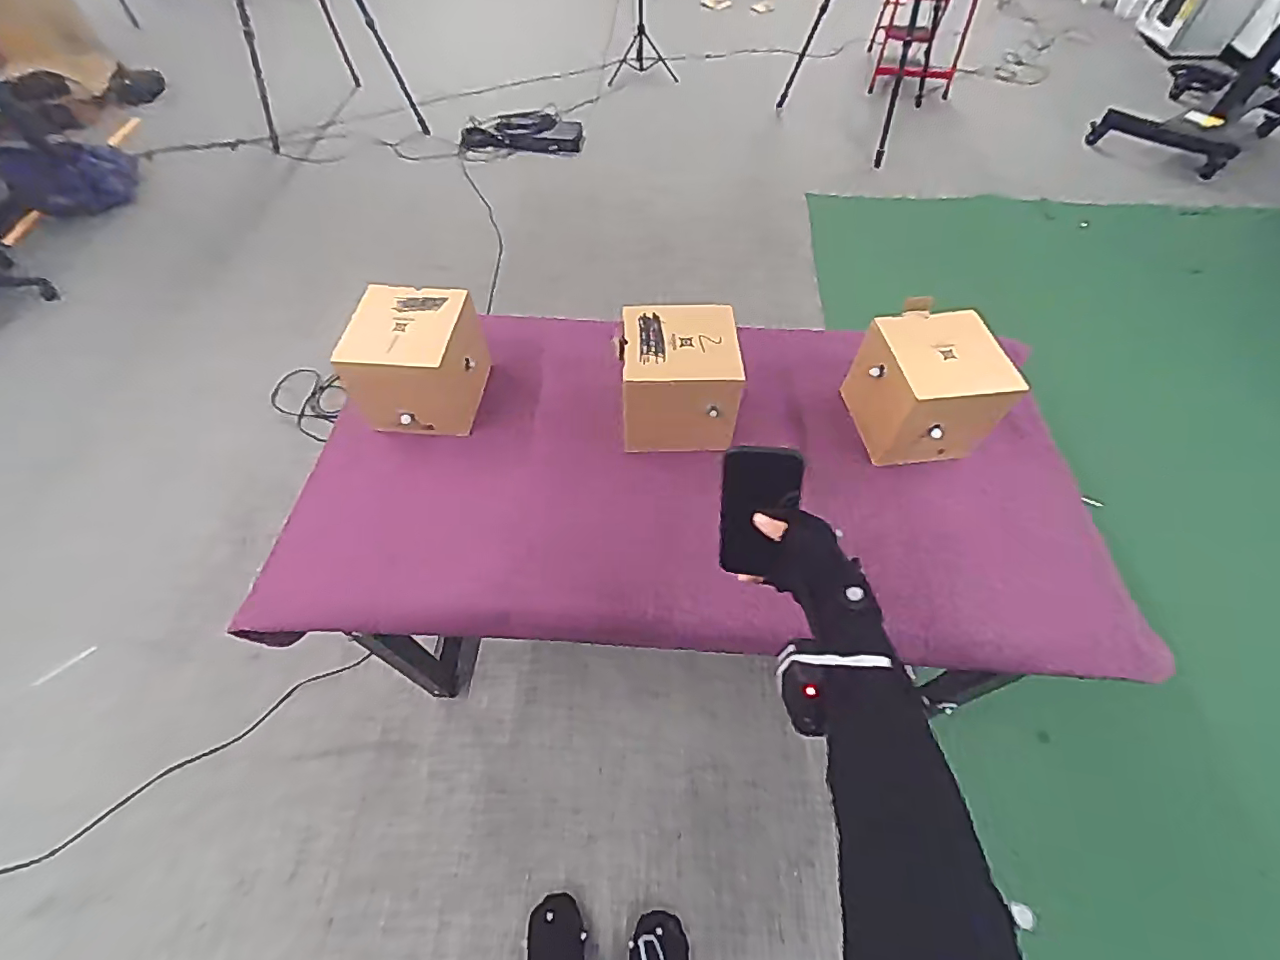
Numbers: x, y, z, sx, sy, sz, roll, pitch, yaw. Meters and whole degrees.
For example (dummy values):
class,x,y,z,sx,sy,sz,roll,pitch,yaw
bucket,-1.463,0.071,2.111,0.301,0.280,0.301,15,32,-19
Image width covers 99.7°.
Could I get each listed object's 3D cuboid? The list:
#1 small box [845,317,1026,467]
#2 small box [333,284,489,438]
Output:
class,x,y,z,sx,sy,sz,roll,pitch,yaw
small box,0.452,-0.132,0.862,0.168,0.176,0.179,-5,55,-3
small box,-0.359,-0.193,0.892,0.168,0.176,0.179,5,58,3
